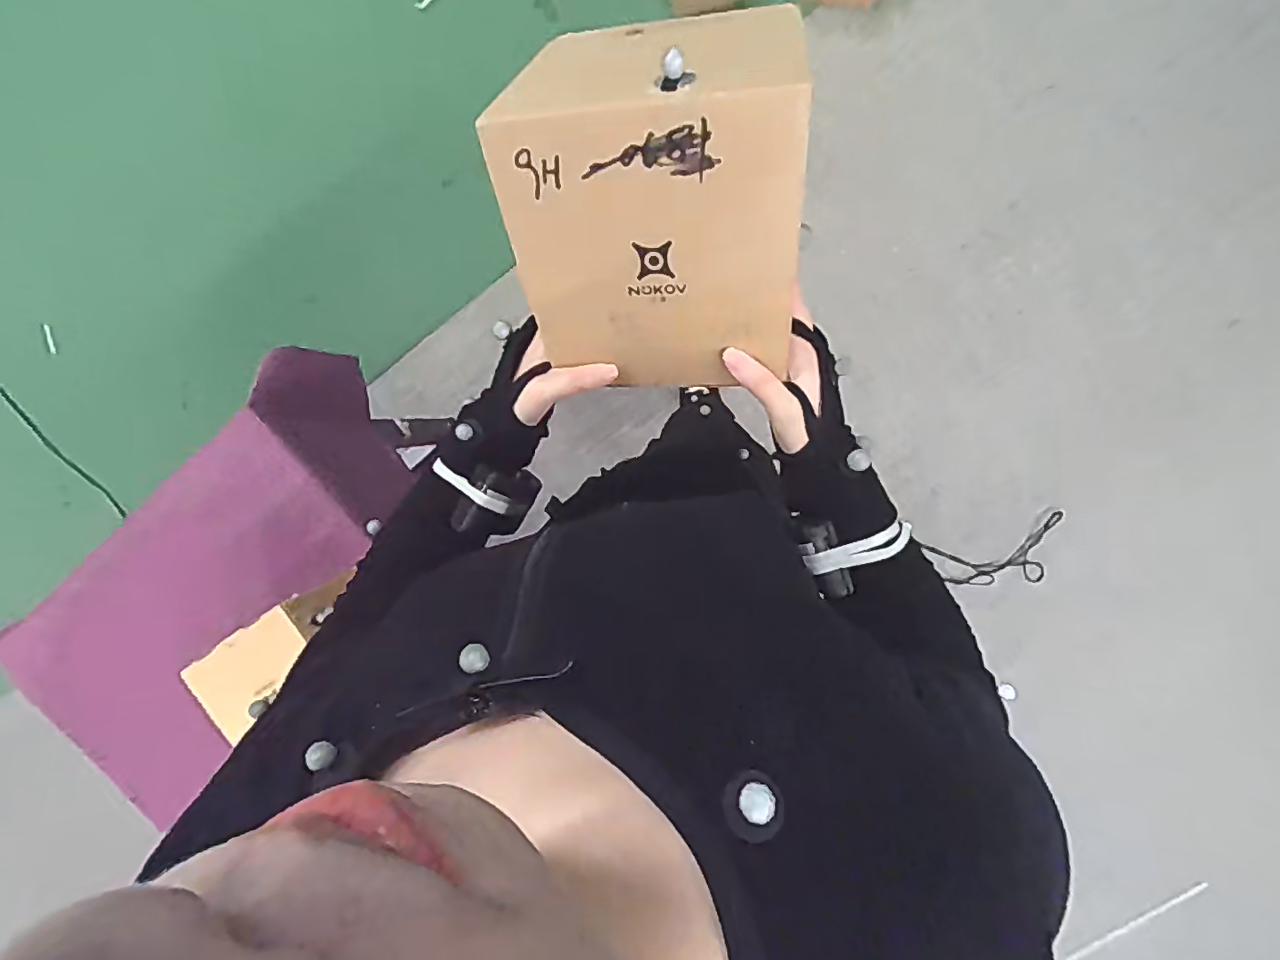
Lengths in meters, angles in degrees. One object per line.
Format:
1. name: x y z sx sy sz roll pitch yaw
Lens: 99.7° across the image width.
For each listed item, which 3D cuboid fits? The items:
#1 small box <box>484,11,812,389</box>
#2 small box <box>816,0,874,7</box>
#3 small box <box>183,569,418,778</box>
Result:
1. small box: 0.022 -0.184 0.373 0.168 0.176 0.179 2 141 11
2. small box: 0.488 -1.232 1.232 0.179 0.176 0.168 9 97 2
3. small box: -0.441 0.249 0.736 0.168 0.176 0.179 -33 93 7
